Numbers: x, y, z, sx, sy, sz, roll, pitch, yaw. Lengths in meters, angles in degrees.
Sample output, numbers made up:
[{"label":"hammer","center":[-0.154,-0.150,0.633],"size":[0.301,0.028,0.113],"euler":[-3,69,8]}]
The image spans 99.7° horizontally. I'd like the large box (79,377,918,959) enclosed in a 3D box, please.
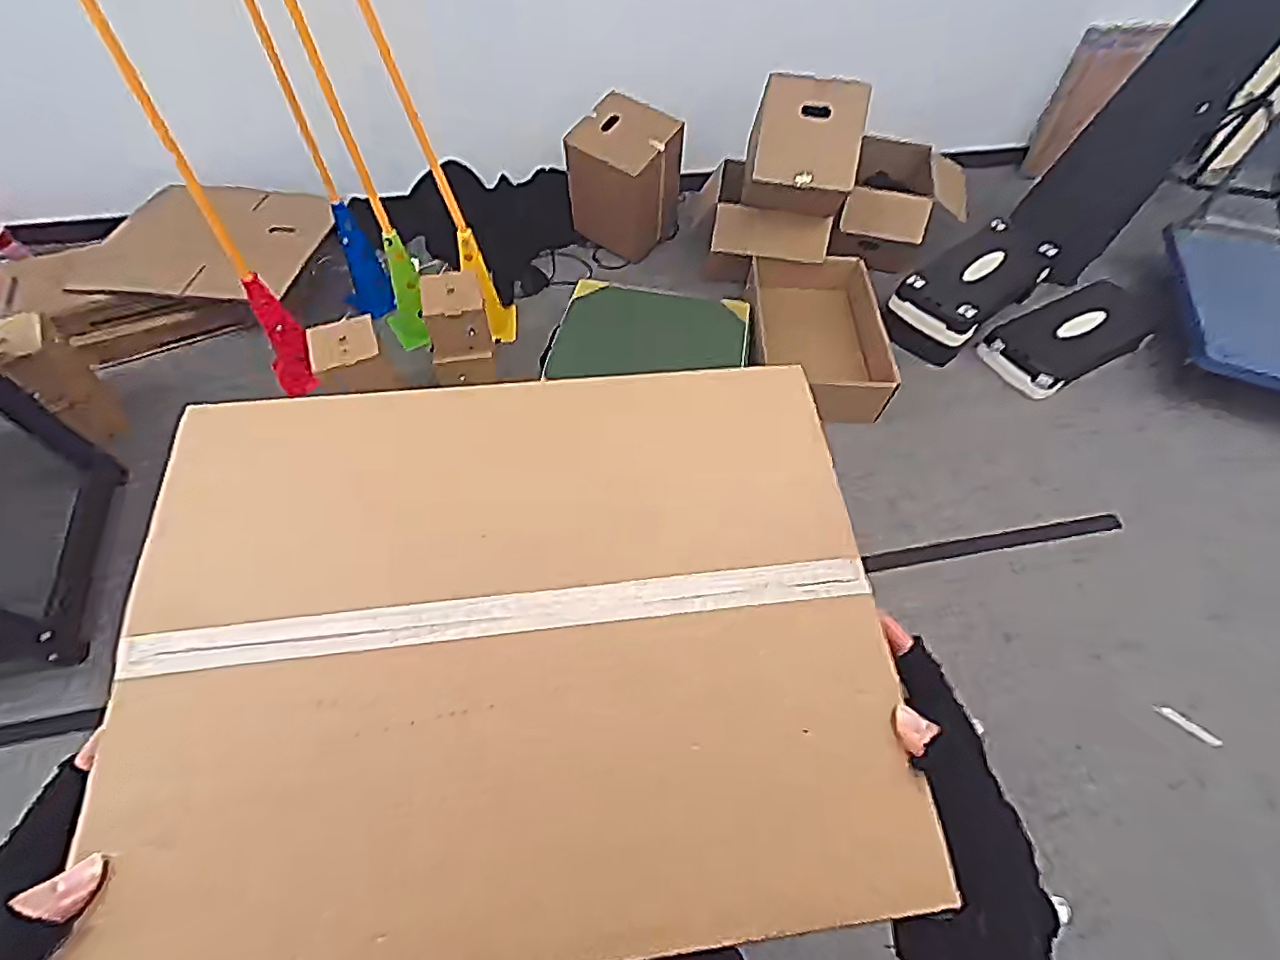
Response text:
[{"label":"large box","center":[-0.080,0.143,0.451],"size":[0.408,0.320,0.320],"euler":[-5,66,-6]}]
